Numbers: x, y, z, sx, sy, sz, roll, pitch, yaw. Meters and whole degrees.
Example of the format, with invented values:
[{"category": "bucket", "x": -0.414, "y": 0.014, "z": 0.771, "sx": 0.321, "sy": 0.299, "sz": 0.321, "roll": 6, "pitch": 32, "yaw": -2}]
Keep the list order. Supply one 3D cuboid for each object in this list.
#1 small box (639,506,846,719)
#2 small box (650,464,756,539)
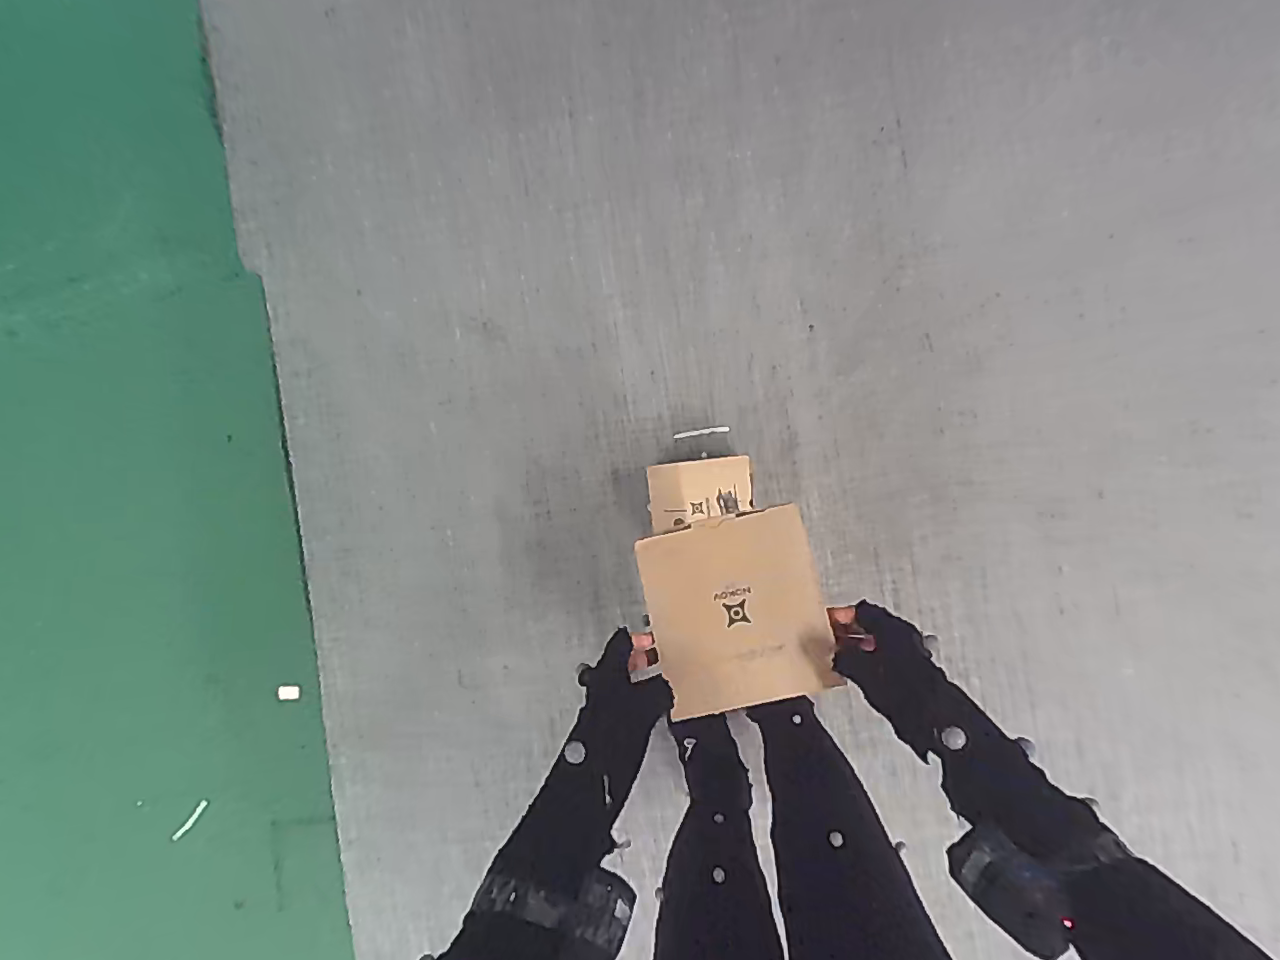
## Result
[{"category": "small box", "x": 0.105, "y": 0.140, "z": 0.603, "sx": 0.168, "sy": 0.176, "sz": 0.179, "roll": -16, "pitch": 80, "yaw": 6}, {"category": "small box", "x": 0.119, "y": 0.061, "z": 0.997, "sx": 0.179, "sy": 0.176, "sz": 0.168, "roll": -7, "pitch": 88, "yaw": 7}]
